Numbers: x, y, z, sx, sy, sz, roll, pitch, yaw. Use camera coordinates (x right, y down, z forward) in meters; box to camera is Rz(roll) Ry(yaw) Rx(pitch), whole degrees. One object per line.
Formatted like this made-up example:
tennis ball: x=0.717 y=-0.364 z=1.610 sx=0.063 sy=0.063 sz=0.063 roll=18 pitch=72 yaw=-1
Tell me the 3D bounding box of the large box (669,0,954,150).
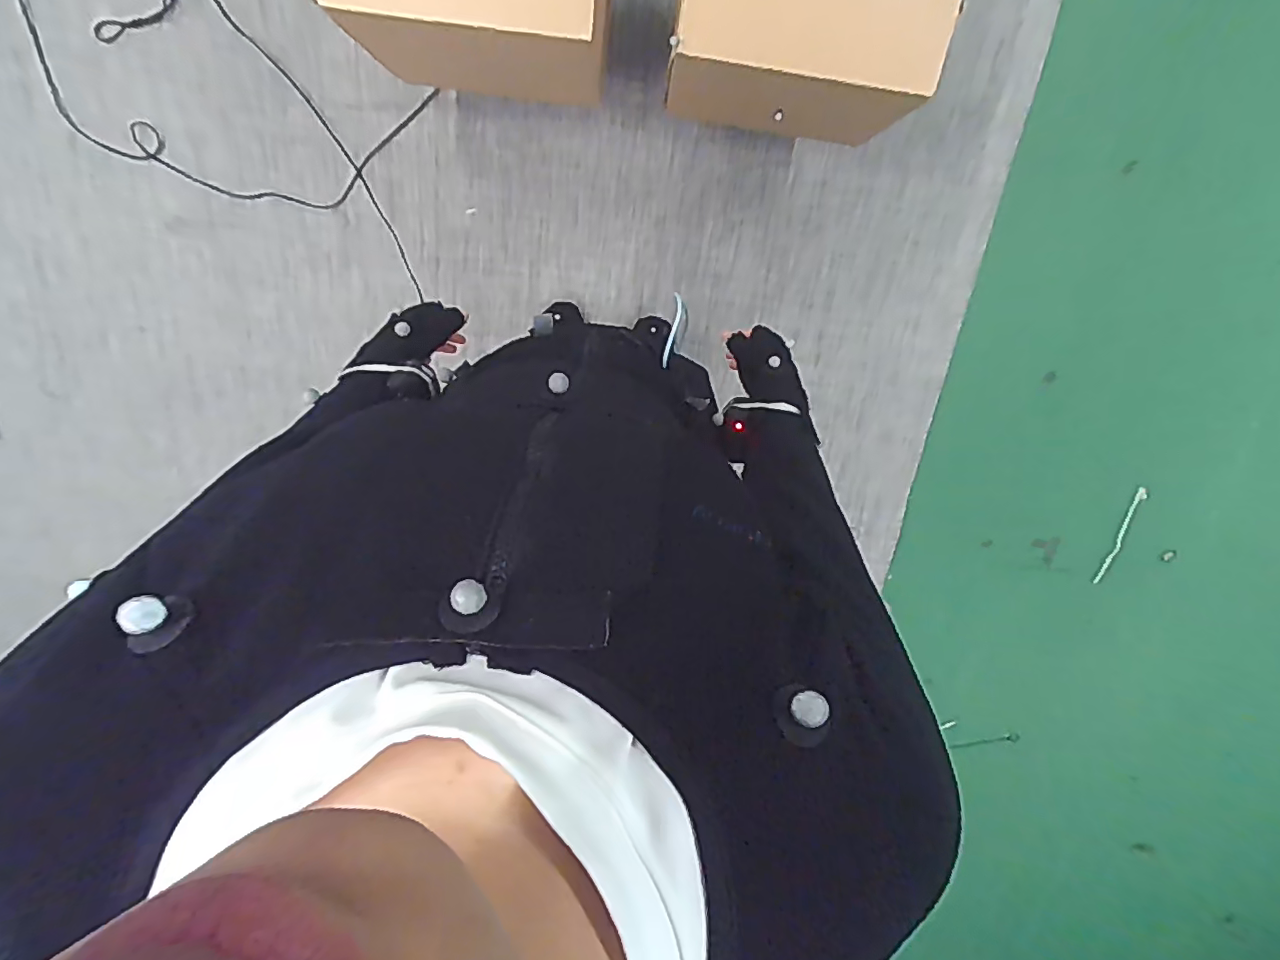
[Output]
large box: x=0.277 y=-0.802 z=0.933 sx=0.408 sy=0.320 sz=0.320 roll=8 pitch=109 yaw=-3
